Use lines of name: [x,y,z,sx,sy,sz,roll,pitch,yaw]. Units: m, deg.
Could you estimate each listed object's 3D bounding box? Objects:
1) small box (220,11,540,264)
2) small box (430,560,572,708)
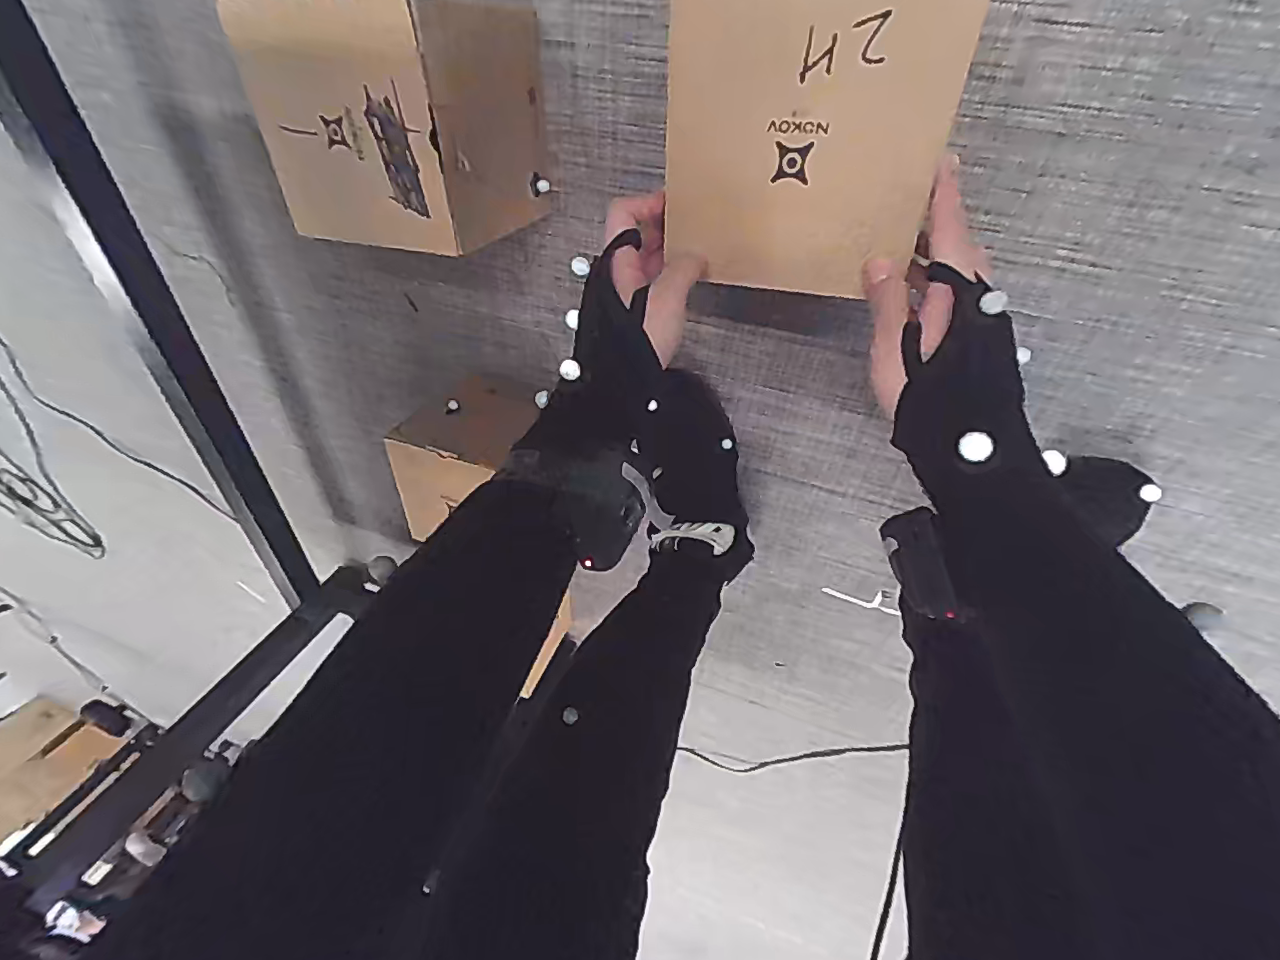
small box: [-0.203,-0.308,0.484,0.179,0.176,0.168,13,129,17]
small box: [-0.224,0.247,0.925,0.168,0.176,0.179,14,129,14]
